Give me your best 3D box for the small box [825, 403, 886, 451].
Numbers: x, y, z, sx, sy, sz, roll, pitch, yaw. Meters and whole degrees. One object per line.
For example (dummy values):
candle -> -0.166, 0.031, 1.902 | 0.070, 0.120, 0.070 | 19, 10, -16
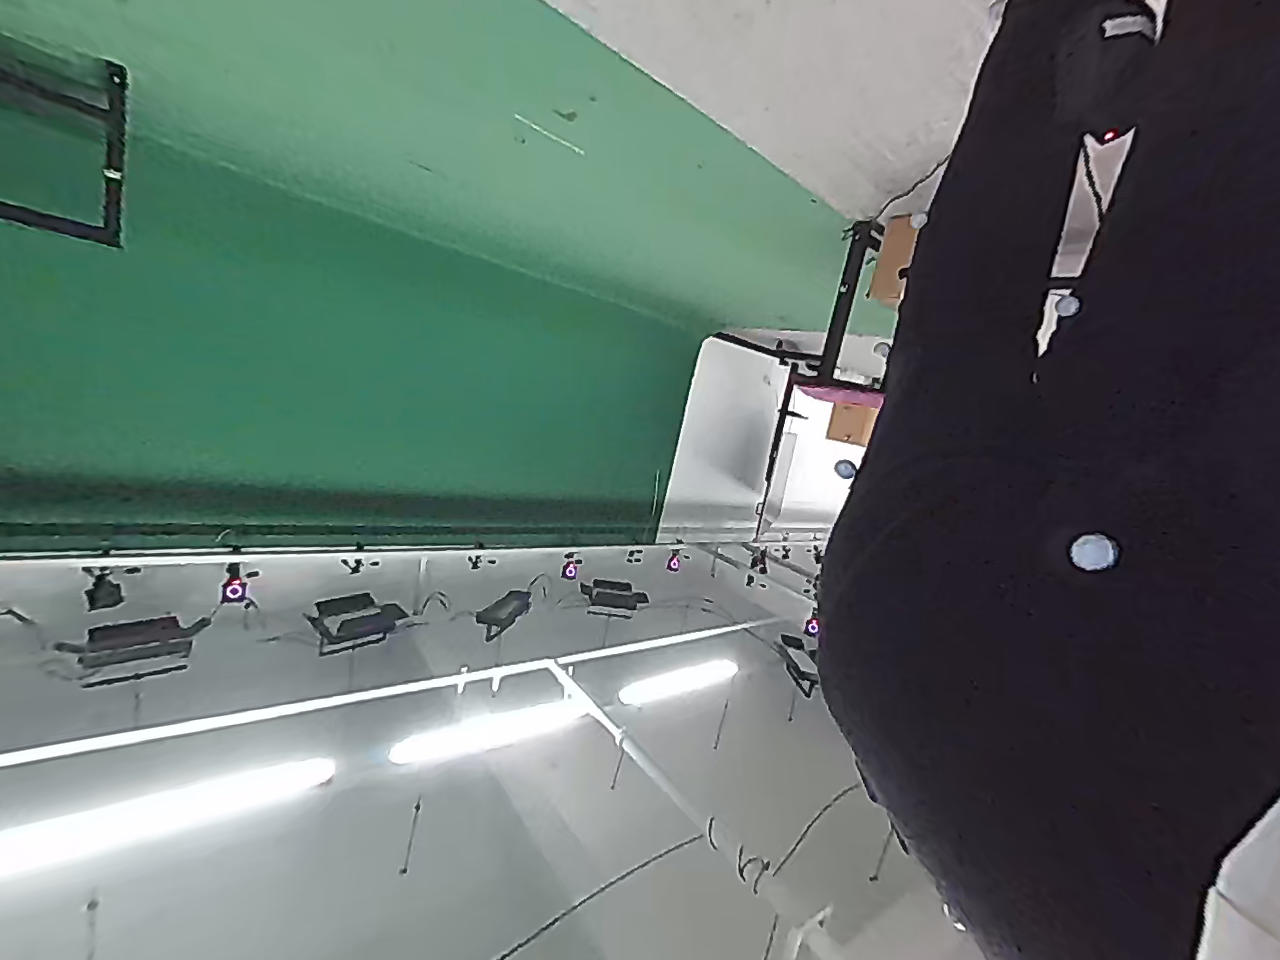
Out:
small box -> 0.915, -0.226, 2.287 | 0.179, 0.176, 0.168 | 1, -168, -41
